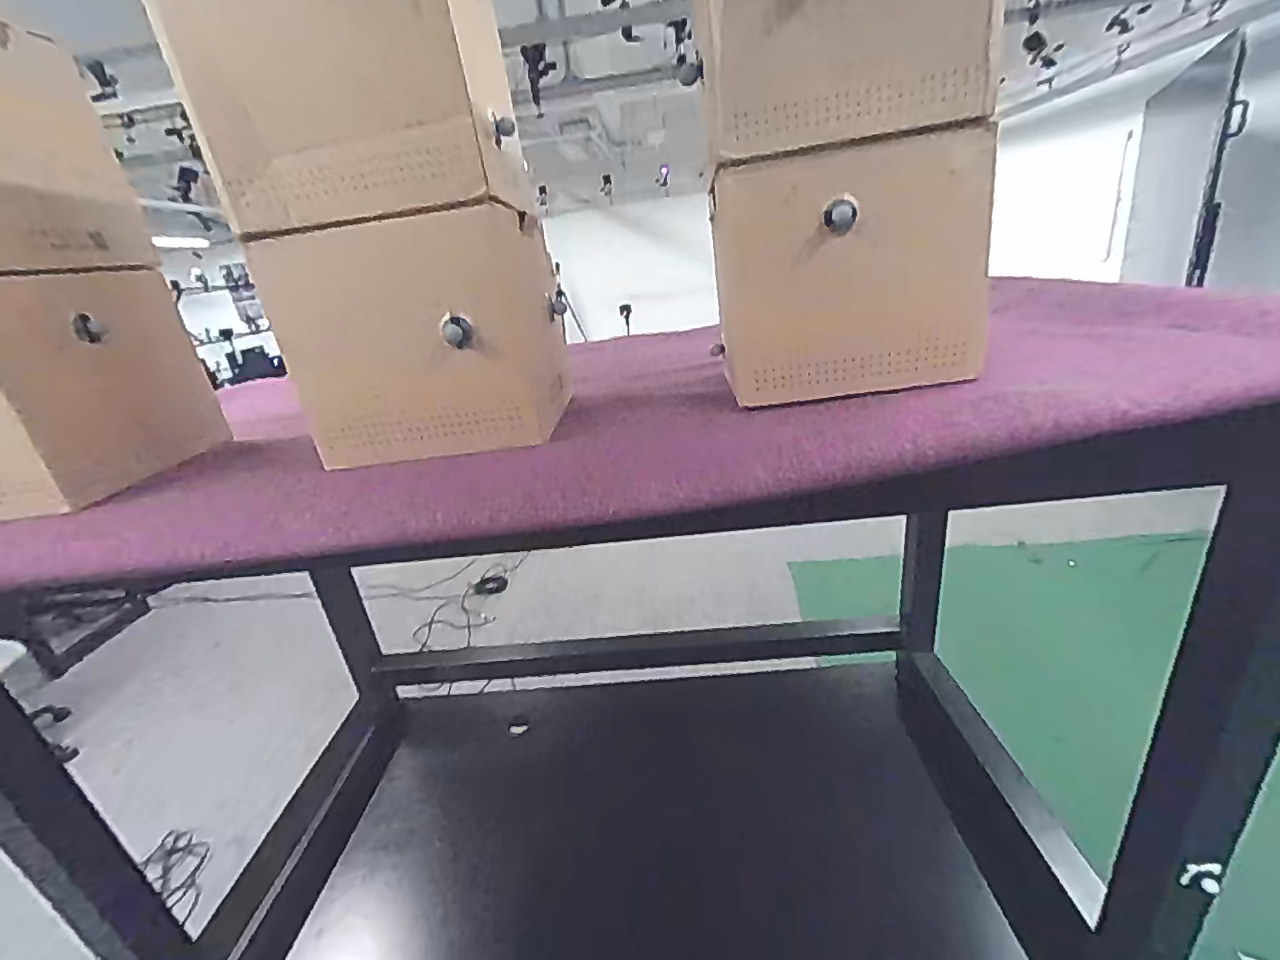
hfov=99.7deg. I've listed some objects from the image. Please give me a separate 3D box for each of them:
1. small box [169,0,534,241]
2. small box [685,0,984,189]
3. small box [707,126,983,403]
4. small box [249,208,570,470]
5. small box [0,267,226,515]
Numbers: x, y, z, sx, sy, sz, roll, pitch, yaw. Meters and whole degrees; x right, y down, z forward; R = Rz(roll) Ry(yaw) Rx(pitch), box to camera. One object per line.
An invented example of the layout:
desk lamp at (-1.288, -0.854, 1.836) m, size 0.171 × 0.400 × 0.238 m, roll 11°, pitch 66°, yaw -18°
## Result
small box at (-0.191, -0.270, 0.400) m, size 0.179 × 0.176 × 0.168 m, roll -7°, pitch 21°, yaw 2°
small box at (0.131, -0.320, 0.402) m, size 0.179 × 0.176 × 0.168 m, roll -7°, pitch 20°, yaw 7°
small box at (0.155, -0.166, 0.456) m, size 0.179 × 0.176 × 0.168 m, roll -6°, pitch 20°, yaw 6°
small box at (-0.164, -0.120, 0.458) m, size 0.179 × 0.176 × 0.168 m, roll -7°, pitch 21°, yaw 4°
small box at (-0.504, -0.076, 0.453) m, size 0.168 × 0.176 × 0.179 m, roll -6°, pitch 22°, yaw 2°
